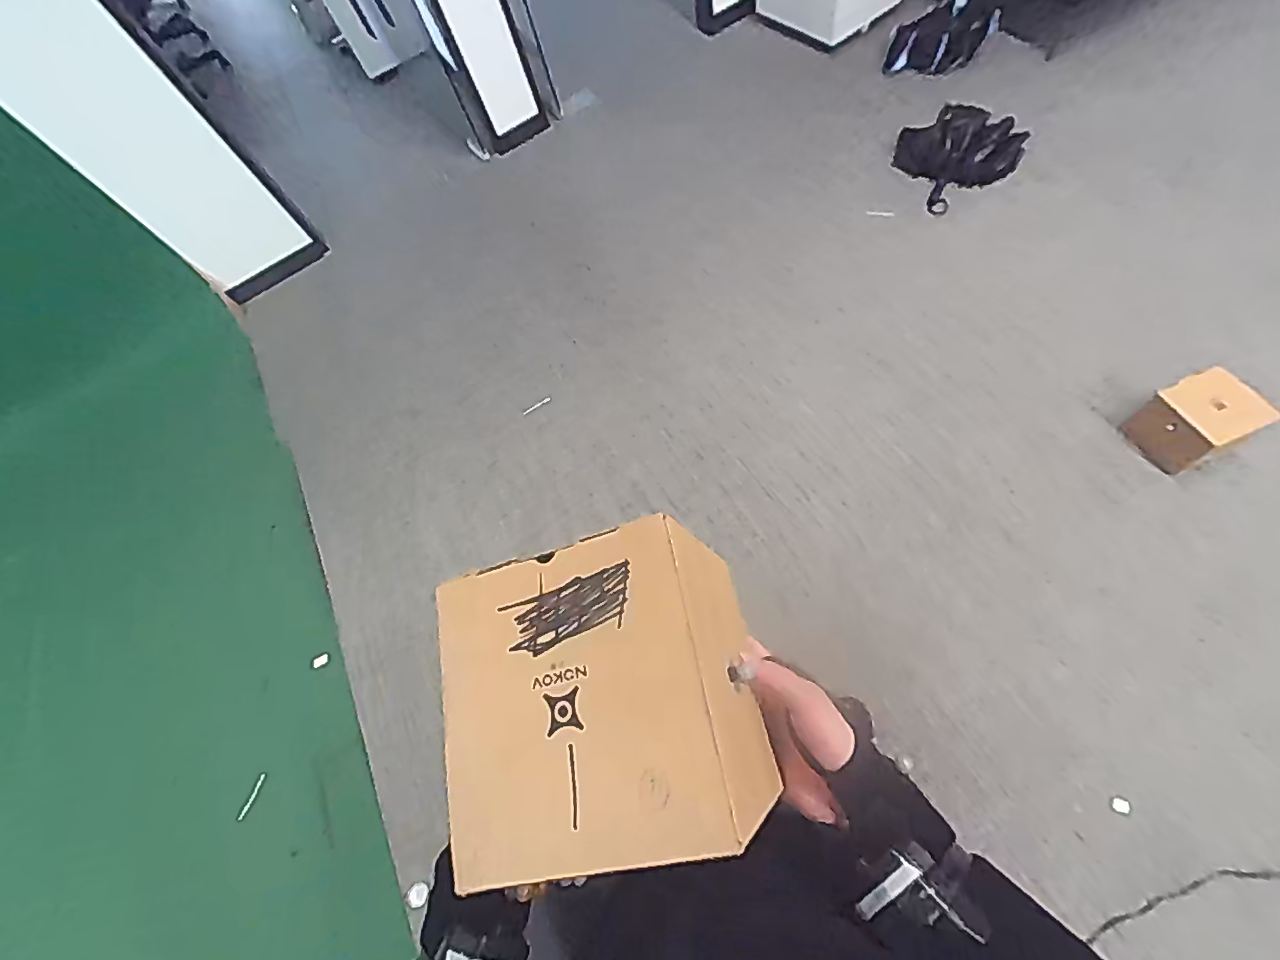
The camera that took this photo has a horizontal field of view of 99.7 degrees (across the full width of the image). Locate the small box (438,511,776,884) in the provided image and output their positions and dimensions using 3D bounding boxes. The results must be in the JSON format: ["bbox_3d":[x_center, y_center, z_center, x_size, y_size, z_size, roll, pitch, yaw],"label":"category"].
[{"bbox_3d":[-0.016,0.144,0.379,0.168,0.176,0.179,-20,67,16],"label":"small box"}]

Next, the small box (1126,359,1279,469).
[{"bbox_3d":[1.380,-0.158,1.339,0.168,0.176,0.179,-26,63,2],"label":"small box"}]
